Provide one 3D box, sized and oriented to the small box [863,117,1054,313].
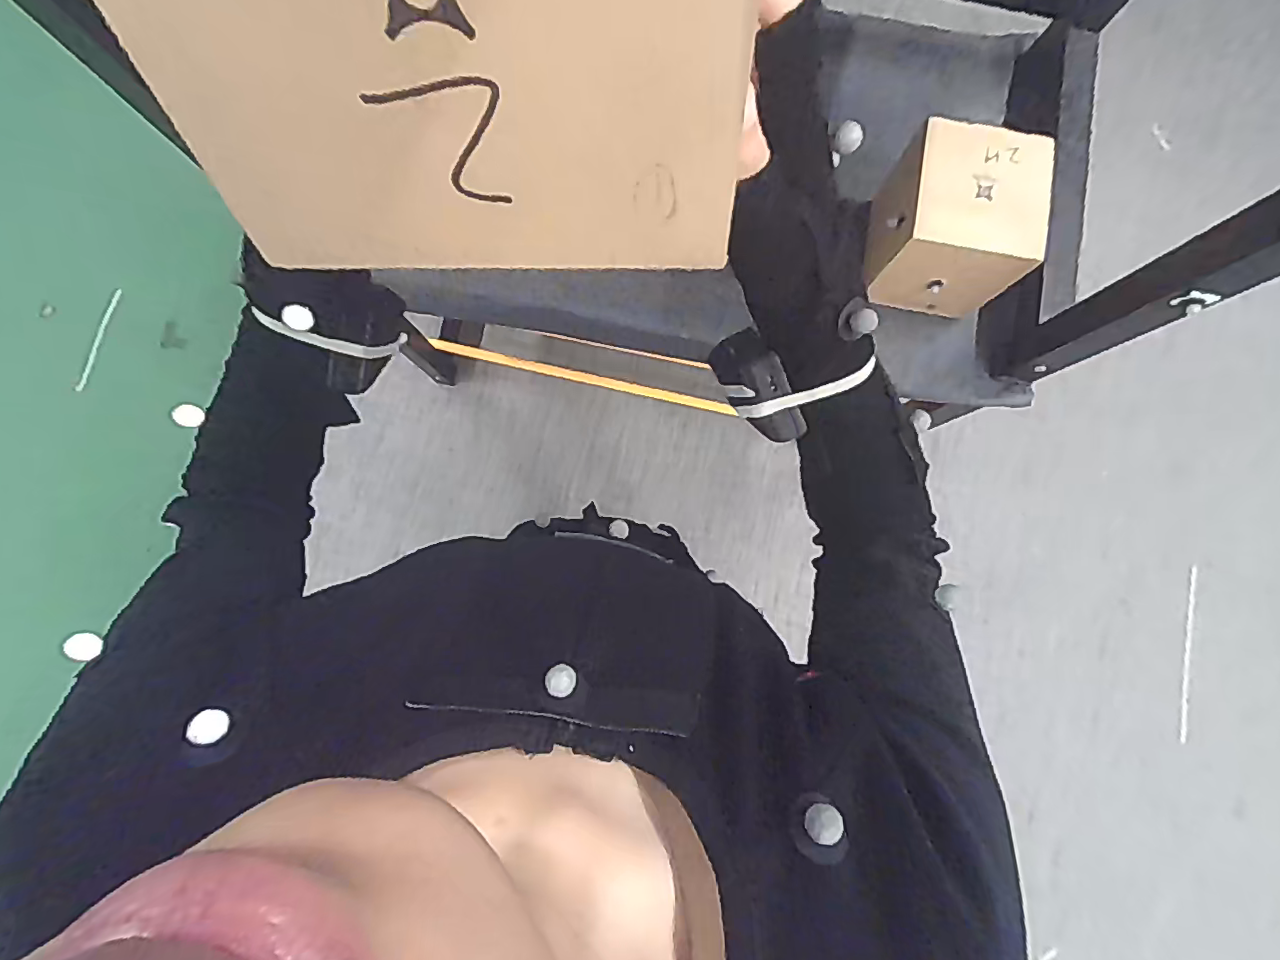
[{"bbox_3d":[0.433,-0.358,0.761,0.168,0.176,0.179,11,81,0],"label":"small box"}]
